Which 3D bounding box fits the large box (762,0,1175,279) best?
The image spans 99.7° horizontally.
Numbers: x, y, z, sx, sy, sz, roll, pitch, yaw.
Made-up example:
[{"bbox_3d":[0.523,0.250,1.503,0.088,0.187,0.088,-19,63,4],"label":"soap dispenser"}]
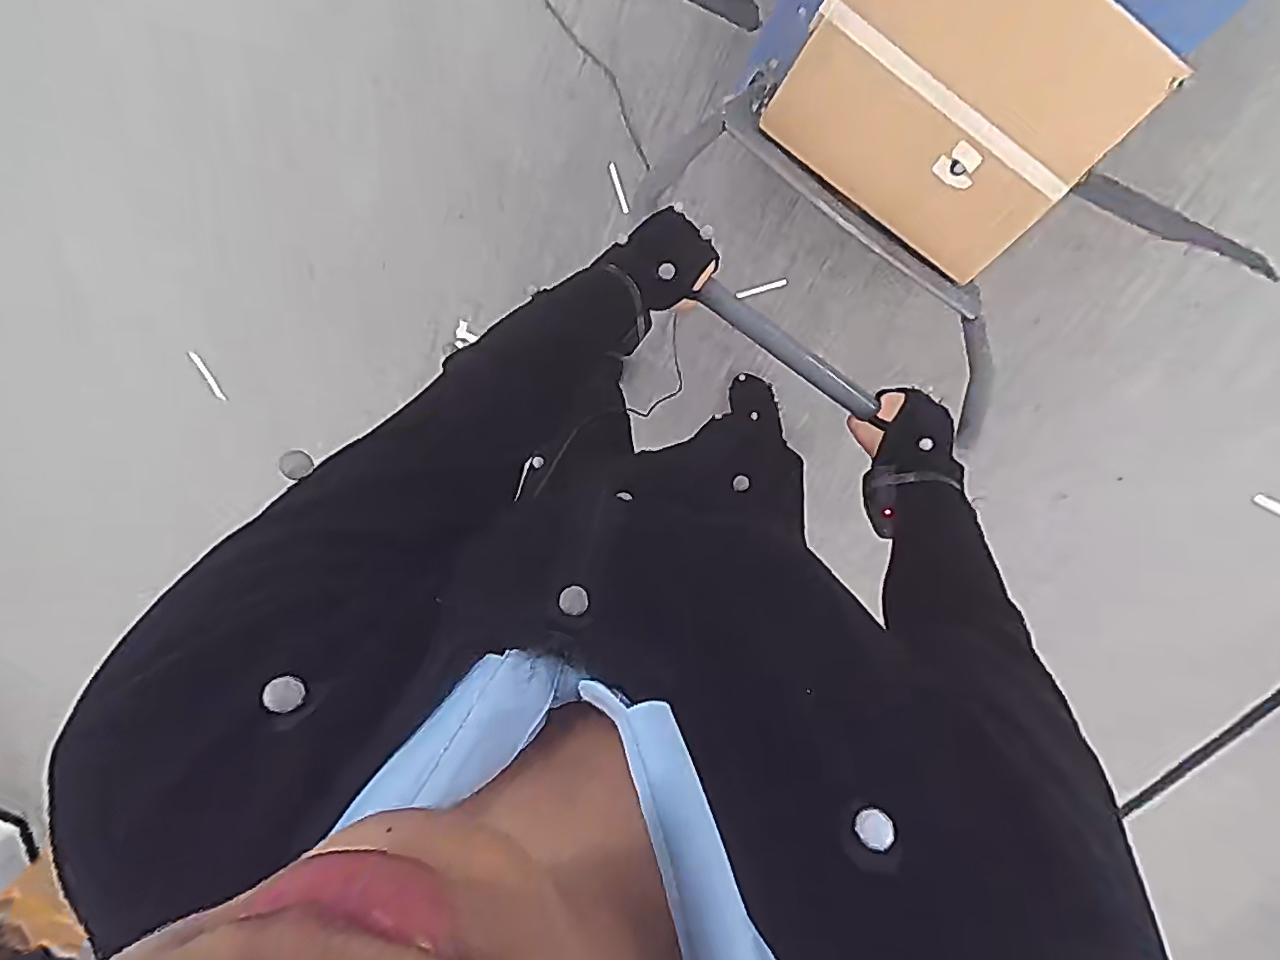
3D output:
[{"bbox_3d":[0.458,-0.599,0.842,0.408,0.320,0.320,33,134,-7],"label":"large box"}]
